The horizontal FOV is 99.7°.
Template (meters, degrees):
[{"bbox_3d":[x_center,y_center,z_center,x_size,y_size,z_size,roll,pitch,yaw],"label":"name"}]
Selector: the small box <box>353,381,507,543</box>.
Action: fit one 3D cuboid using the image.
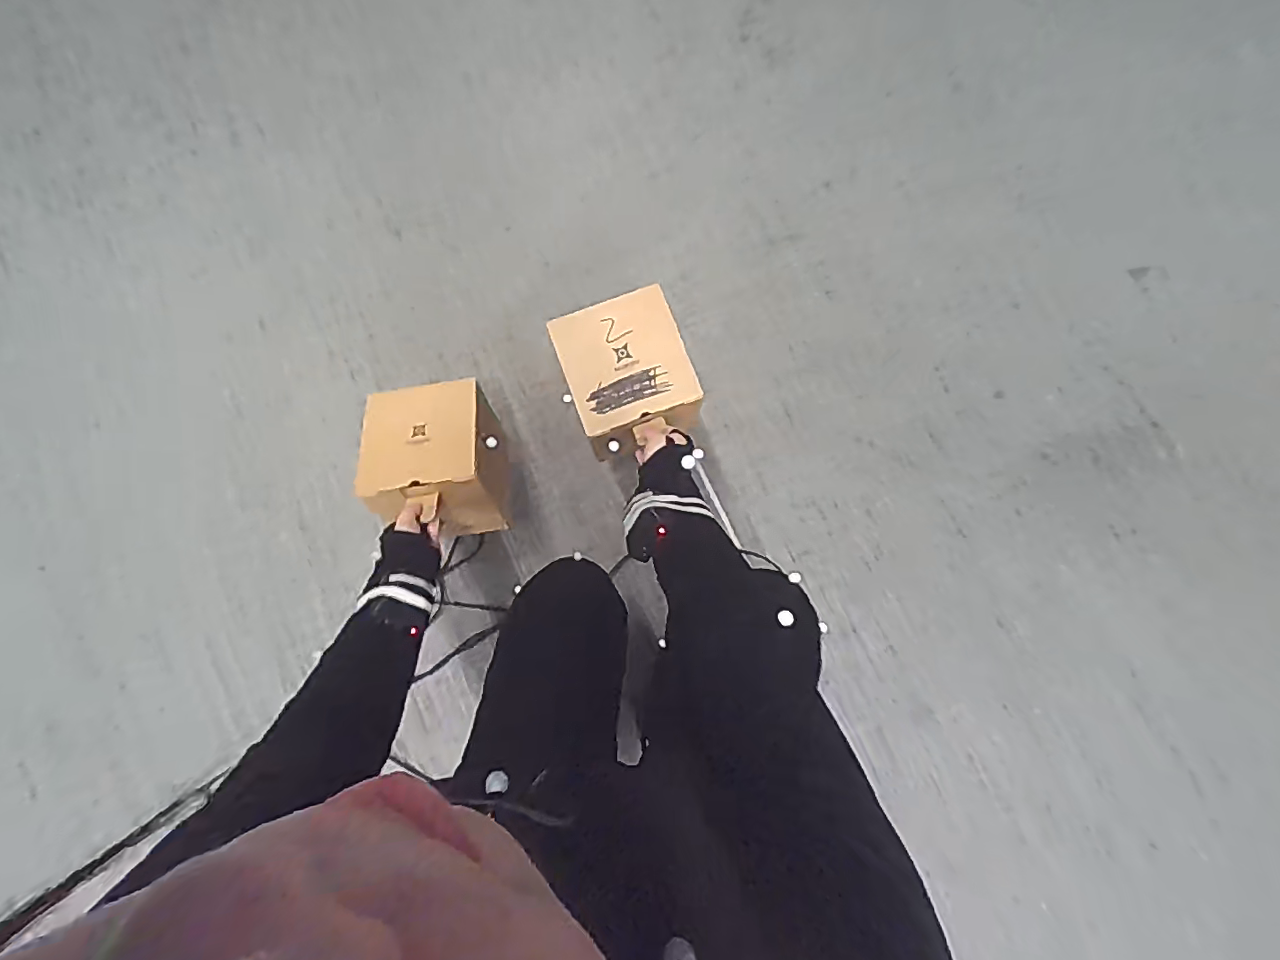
[{"bbox_3d":[-0.308,-0.023,0.831,0.168,0.176,0.179,-9,61,-1],"label":"small box"}]
